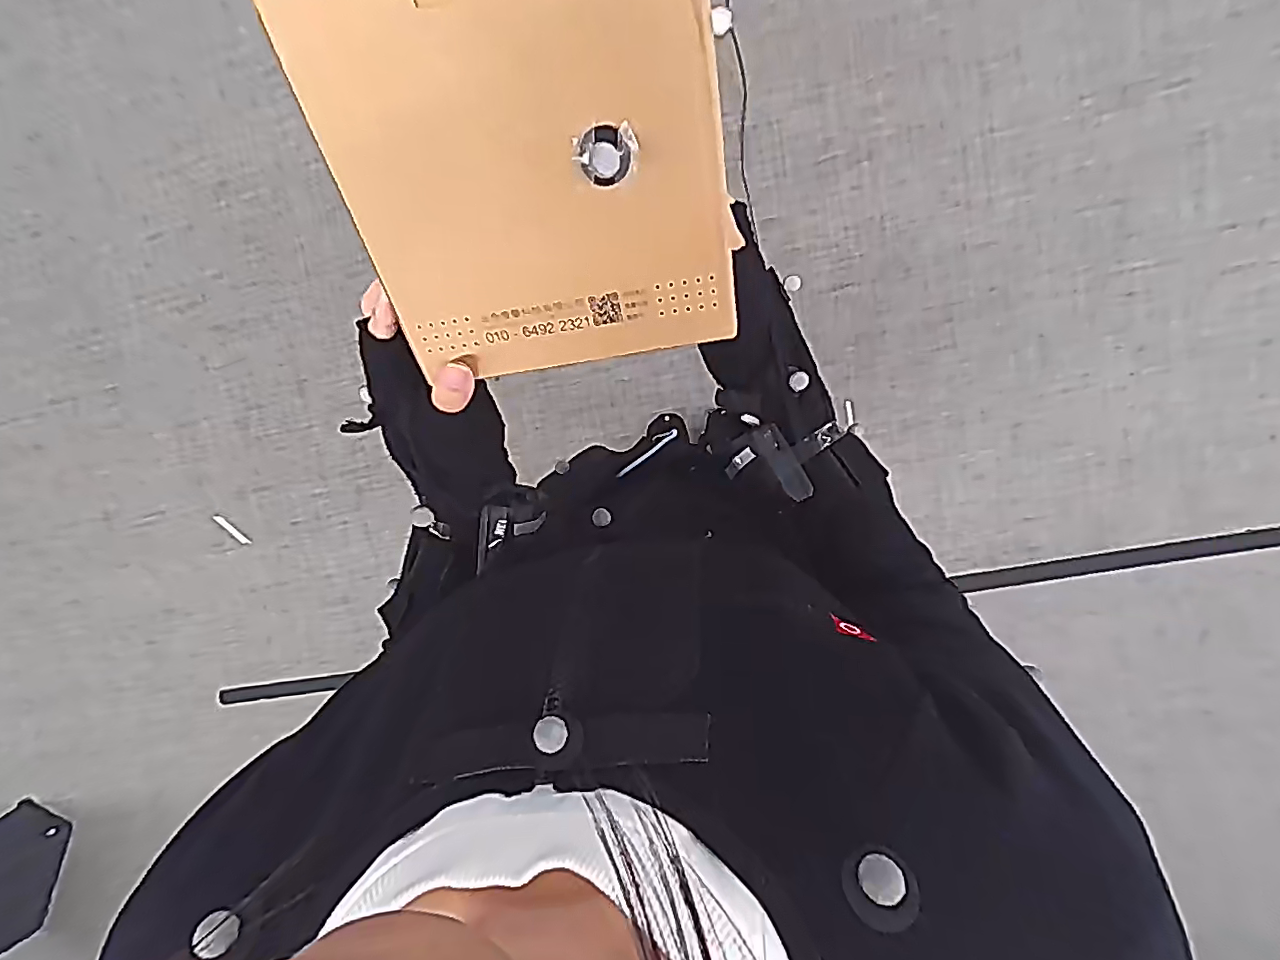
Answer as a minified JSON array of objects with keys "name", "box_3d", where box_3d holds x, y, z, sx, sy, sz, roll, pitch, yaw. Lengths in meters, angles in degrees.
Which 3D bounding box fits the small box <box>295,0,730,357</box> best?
[{"name":"small box","box_3d":[-0.040,-0.181,0.316,0.168,0.179,0.176,-6,127,9]}]
